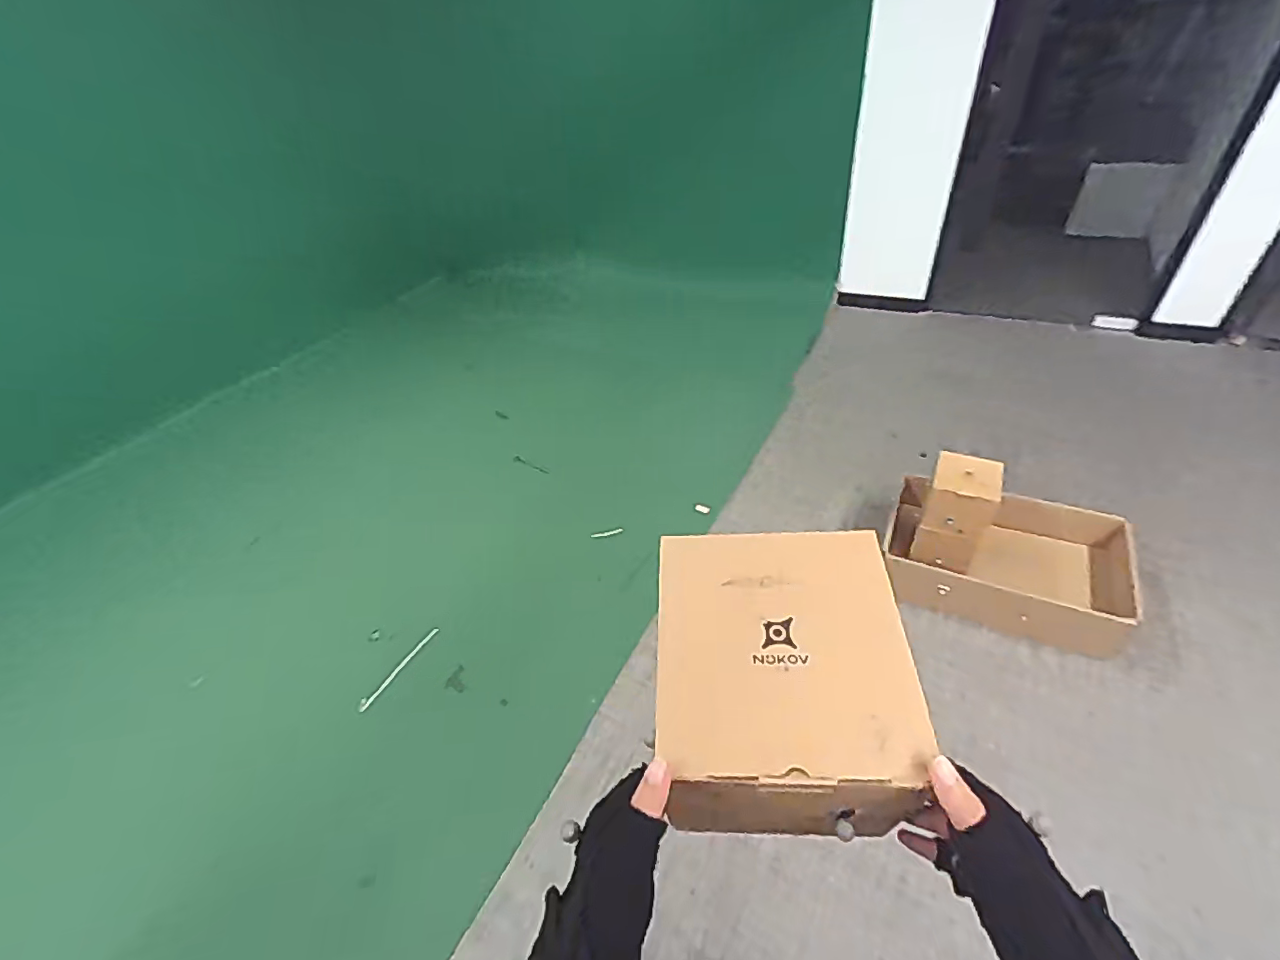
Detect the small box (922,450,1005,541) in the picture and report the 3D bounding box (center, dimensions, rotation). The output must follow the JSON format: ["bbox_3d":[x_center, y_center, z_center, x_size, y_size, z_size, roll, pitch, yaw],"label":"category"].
[{"bbox_3d":[0.940,0.044,1.577,0.168,0.176,0.179,16,47,24],"label":"small box"}]

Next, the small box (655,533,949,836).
[{"bbox_3d":[0.105,0.160,0.418,0.168,0.176,0.179,-1,49,7],"label":"small box"}]

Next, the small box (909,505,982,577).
[{"bbox_3d":[0.956,0.167,1.684,0.168,0.176,0.179,17,47,26],"label":"small box"}]
